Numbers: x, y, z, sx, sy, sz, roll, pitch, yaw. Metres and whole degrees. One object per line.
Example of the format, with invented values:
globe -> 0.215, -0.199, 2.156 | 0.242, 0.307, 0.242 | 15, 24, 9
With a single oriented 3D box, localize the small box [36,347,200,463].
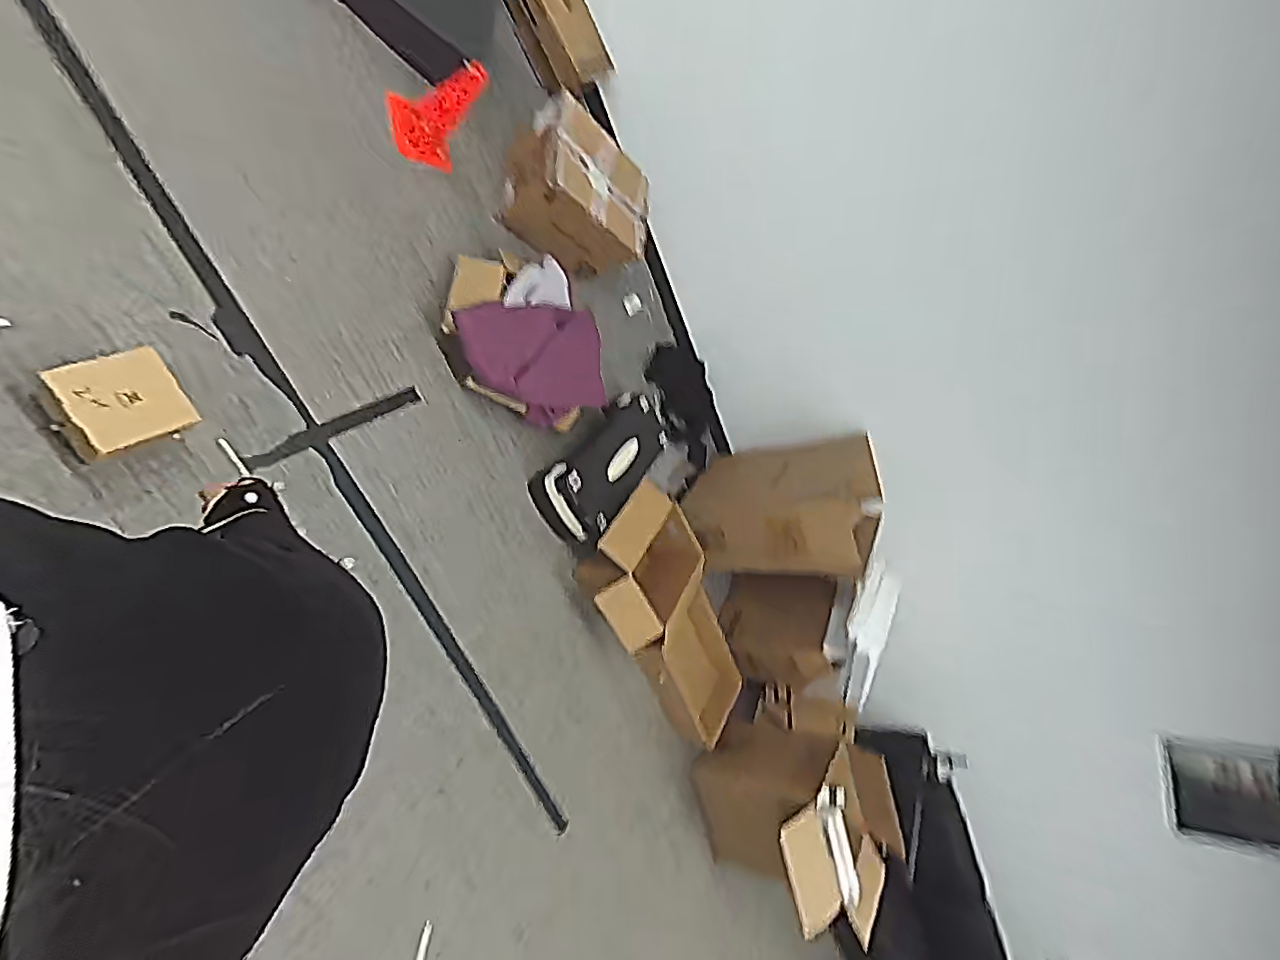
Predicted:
small box -> -1.056, -0.150, 1.094 | 0.179, 0.176, 0.168 | -41, 115, -47
